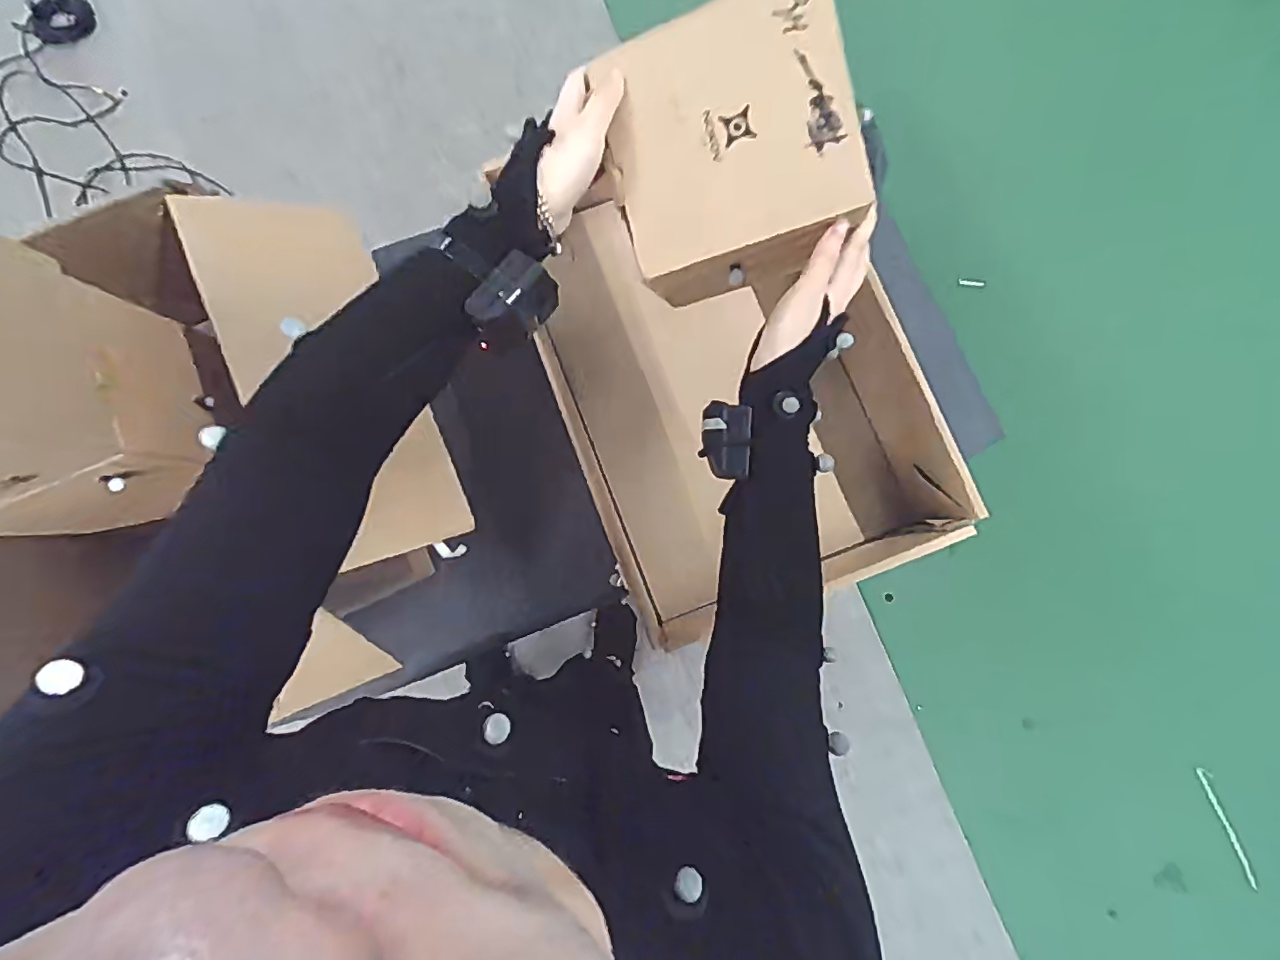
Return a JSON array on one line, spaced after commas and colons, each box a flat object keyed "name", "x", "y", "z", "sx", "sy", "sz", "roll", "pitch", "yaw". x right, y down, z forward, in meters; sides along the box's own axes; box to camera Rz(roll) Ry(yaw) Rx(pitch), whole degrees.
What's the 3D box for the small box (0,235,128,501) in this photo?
[{"name": "small box", "x": -0.515, "y": -0.081, "z": 0.361, "sx": 0.168, "sy": 0.176, "sz": 0.179, "roll": -22, "pitch": 87, "yaw": -1}]
